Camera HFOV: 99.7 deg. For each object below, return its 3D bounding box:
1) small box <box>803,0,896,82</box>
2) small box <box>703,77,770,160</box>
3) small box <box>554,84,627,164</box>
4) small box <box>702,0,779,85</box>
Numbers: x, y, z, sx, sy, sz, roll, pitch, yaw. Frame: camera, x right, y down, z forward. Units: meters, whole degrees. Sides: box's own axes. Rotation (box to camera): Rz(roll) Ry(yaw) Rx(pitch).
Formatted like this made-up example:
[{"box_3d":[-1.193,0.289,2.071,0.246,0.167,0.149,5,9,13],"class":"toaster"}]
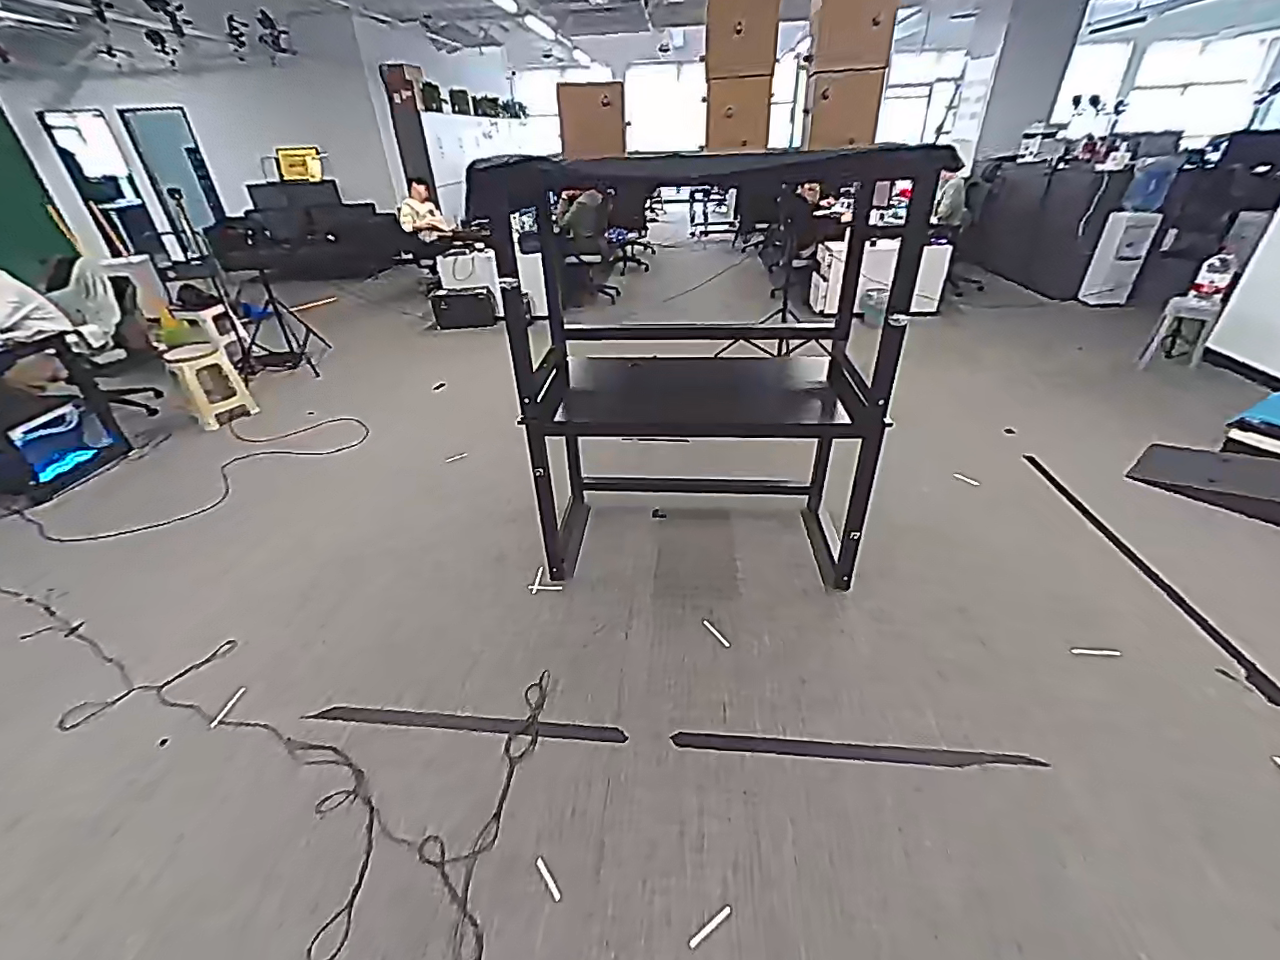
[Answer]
[{"box_3d":[0.507,-1.089,1.321,0.179,0.176,0.168,0,30,7],"class":"small box"},{"box_3d":[0.257,-0.964,1.450,0.168,0.176,0.179,2,31,8],"class":"small box"},{"box_3d":[-0.127,-0.958,1.462,0.179,0.176,0.168,-2,30,1],"class":"small box"},{"box_3d":[0.248,-1.100,1.357,0.179,0.176,0.168,1,30,9],"class":"small box"}]
